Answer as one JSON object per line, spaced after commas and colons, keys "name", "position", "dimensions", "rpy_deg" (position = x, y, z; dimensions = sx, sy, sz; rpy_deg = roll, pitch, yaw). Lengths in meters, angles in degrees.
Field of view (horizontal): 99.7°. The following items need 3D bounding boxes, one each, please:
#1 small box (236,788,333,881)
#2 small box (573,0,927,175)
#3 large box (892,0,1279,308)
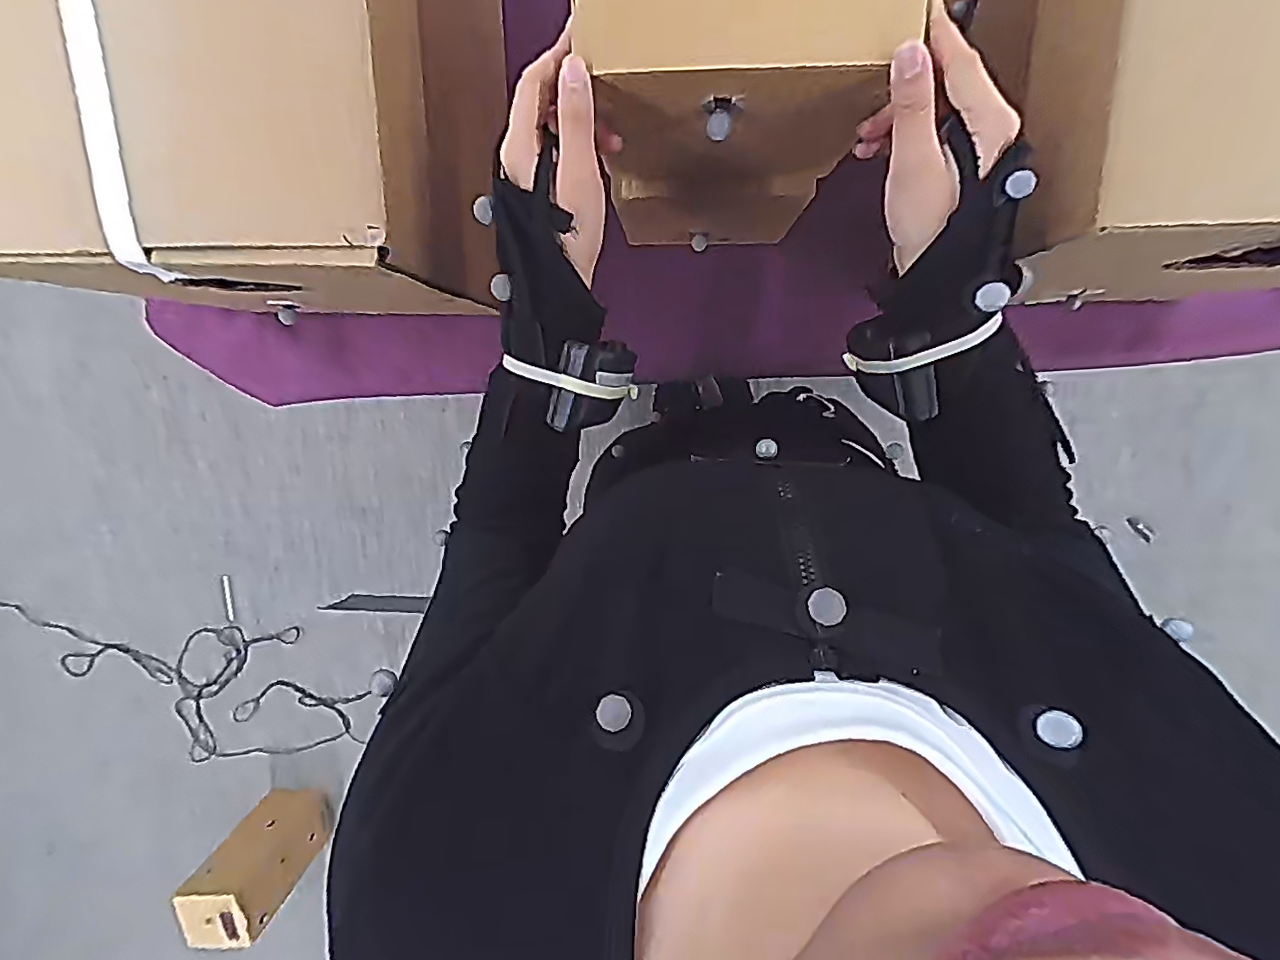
{"name": "small box", "position": [-1.043, 1.047, 1.606], "dimensions": [0.179, 0.176, 0.168], "rpy_deg": [-1, 102, 5]}
{"name": "small box", "position": [0.059, -0.304, 0.332], "dimensions": [0.179, 0.176, 0.168], "rpy_deg": [1, 102, 5]}
{"name": "large box", "position": [0.403, -0.358, 0.394], "dimensions": [0.320, 0.320, 0.408], "rpy_deg": [0, 100, 4]}
